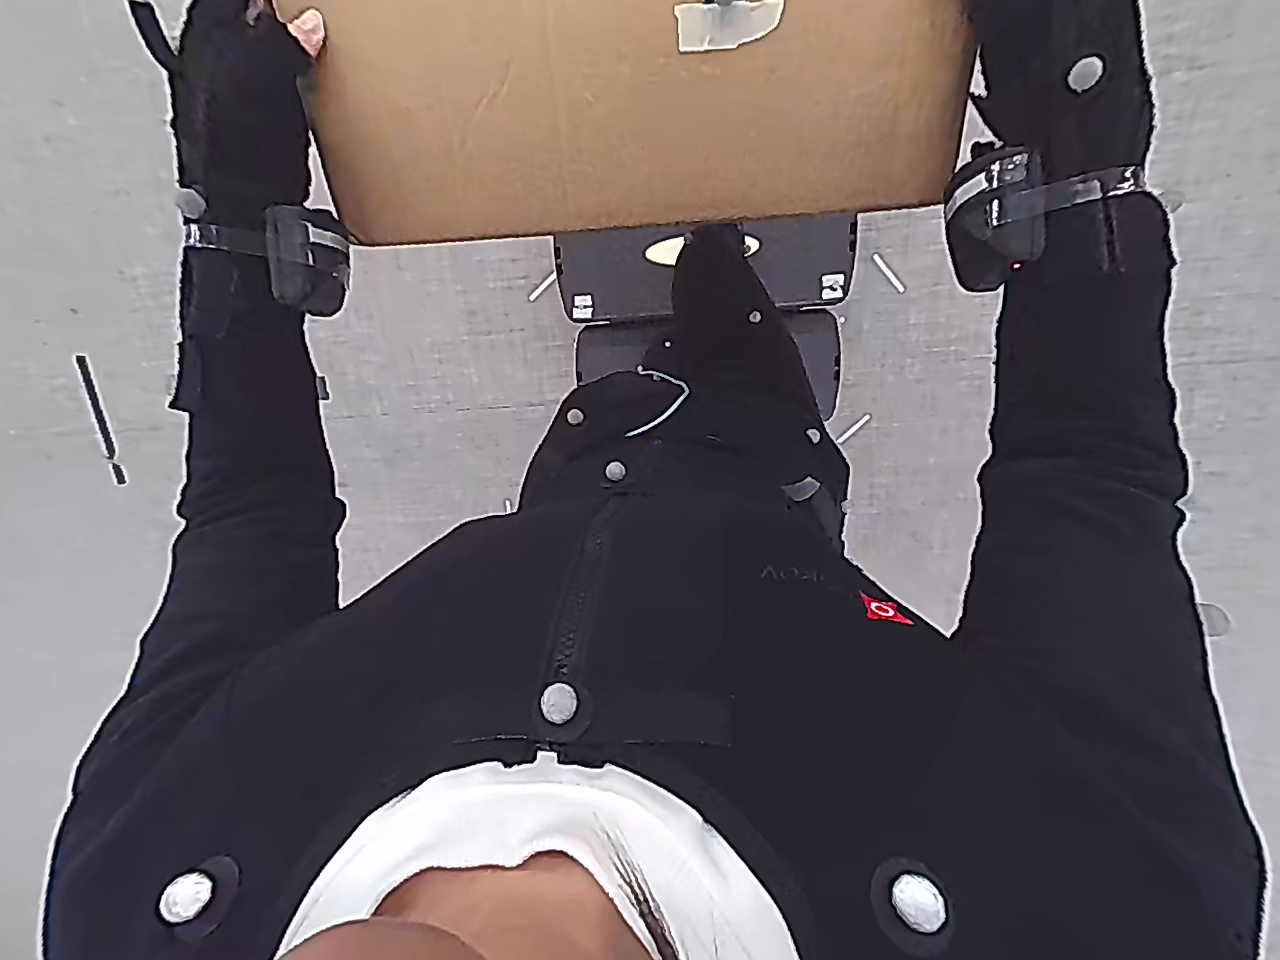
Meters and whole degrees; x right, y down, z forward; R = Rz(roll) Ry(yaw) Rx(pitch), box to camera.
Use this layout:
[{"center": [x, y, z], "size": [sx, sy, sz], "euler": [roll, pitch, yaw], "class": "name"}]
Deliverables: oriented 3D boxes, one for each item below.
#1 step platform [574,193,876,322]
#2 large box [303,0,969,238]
[{"center": [0.187, -0.545, 1.277], "size": [0.684, 0.204, 0.286], "euler": [-3, 108, 6], "class": "step platform"}, {"center": [0.000, -0.387, 0.436], "size": [0.408, 0.320, 0.320], "euler": [-1, 118, 7], "class": "large box"}]
